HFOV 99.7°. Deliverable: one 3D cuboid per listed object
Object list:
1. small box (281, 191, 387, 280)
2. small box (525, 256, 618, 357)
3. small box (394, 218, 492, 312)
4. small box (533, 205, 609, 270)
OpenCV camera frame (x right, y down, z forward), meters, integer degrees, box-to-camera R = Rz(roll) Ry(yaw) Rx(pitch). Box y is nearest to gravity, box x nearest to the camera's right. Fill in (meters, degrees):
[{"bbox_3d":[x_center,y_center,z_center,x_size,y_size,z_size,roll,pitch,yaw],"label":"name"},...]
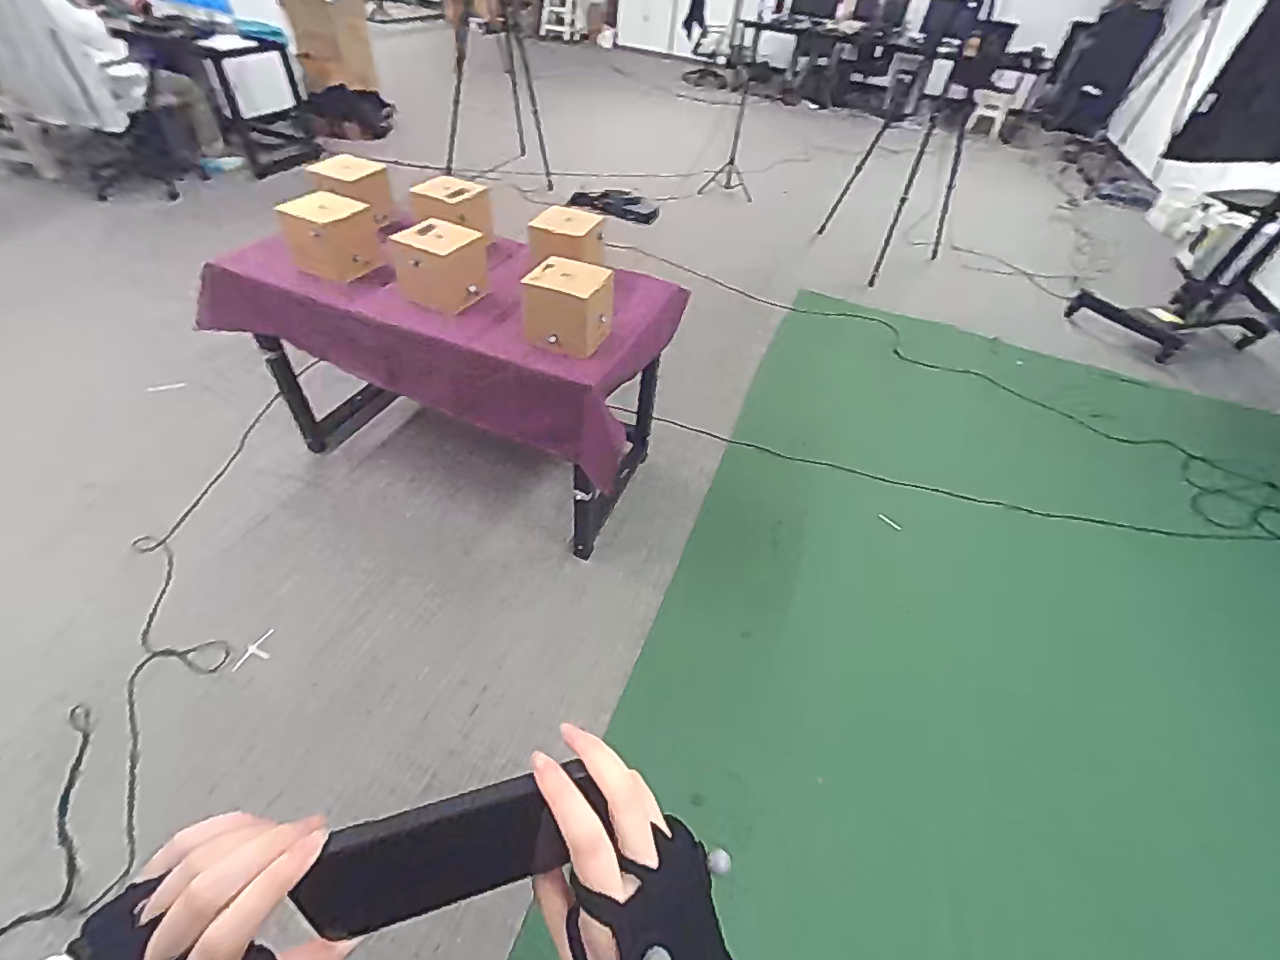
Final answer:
[{"bbox_3d":[-0.853,-0.685,1.522,0.179,0.176,0.168,22,47,12],"label":"small box"},{"bbox_3d":[-0.171,-0.434,1.365,0.179,0.176,0.168,19,46,11],"label":"small box"},{"bbox_3d":[-0.522,-0.577,1.459,0.179,0.176,0.168,23,48,13],"label":"small box"},{"bbox_3d":[-0.203,-0.684,1.602,0.168,0.176,0.179,18,47,10],"label":"small box"}]
